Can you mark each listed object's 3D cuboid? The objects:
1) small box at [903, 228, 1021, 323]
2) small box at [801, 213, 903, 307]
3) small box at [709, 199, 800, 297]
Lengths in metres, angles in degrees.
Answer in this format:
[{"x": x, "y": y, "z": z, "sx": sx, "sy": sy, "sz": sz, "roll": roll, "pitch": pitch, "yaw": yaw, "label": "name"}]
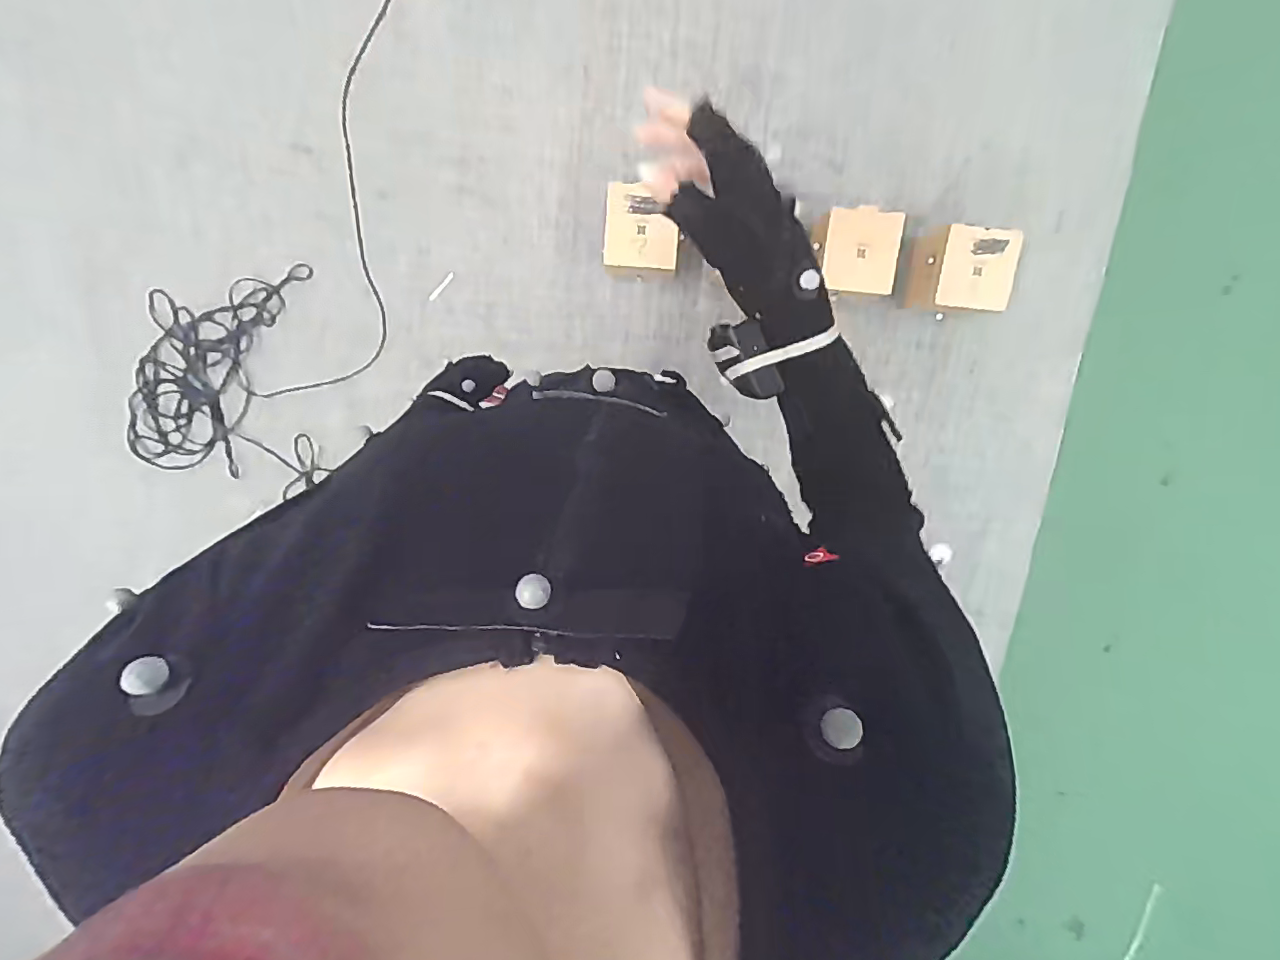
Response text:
[{"x": 0.754, "y": -0.479, "z": 1.288, "sx": 0.168, "sy": 0.176, "sz": 0.179, "roll": 6, "pitch": 102, "yaw": 0, "label": "small box"}, {"x": 0.493, "y": -0.514, "z": 1.285, "sx": 0.168, "sy": 0.176, "sz": 0.179, "roll": 5, "pitch": 101, "yaw": -1, "label": "small box"}, {"x": 0.262, "y": -0.539, "z": 1.281, "sx": 0.168, "sy": 0.176, "sz": 0.179, "roll": 7, "pitch": 101, "yaw": -1, "label": "small box"}]
